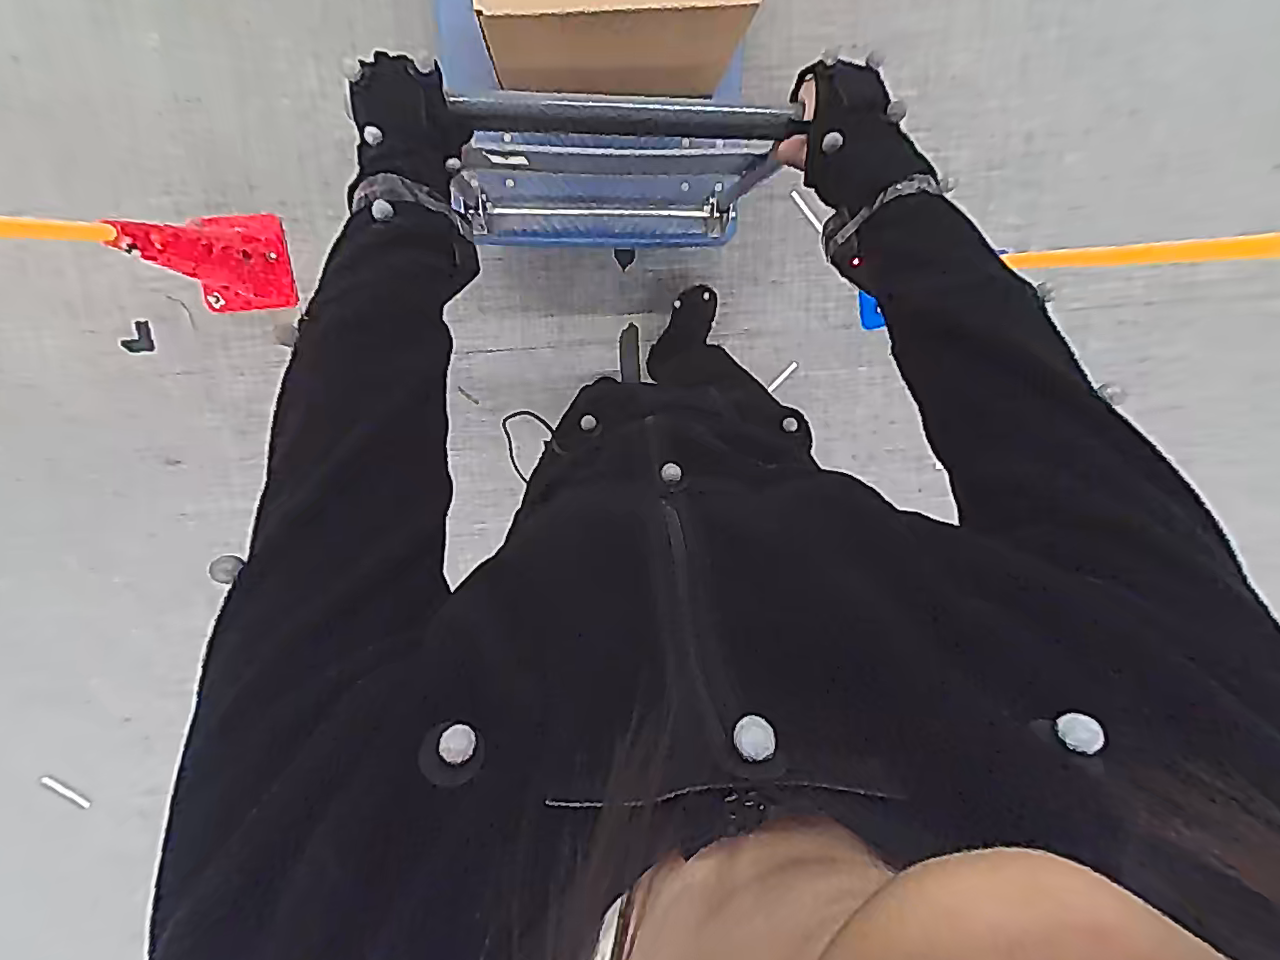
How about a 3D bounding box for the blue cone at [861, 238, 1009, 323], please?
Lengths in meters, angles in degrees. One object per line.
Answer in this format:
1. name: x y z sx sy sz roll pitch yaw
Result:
1. blue cone: 0.667 -0.464 1.202 0.193 0.380 0.192 -8 103 -4
